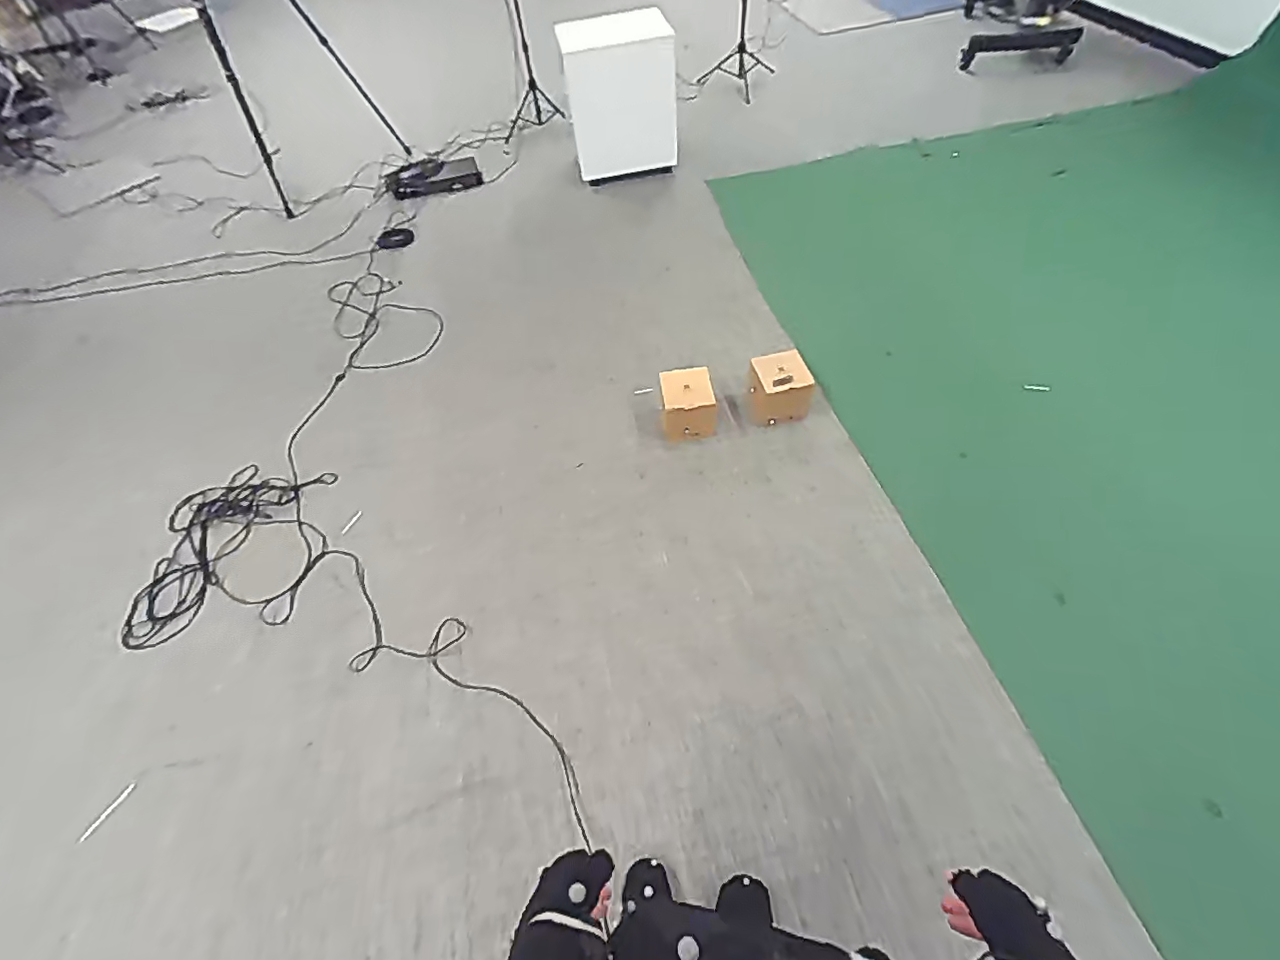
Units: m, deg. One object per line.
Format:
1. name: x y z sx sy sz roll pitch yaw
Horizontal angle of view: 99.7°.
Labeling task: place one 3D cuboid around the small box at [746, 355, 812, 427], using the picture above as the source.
1. small box: 0.472 -0.299 1.858 0.168 0.176 0.179 -12 54 -4

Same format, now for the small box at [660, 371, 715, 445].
1. small box: 0.158 -0.244 1.846 0.168 0.176 0.179 -8 55 -1
